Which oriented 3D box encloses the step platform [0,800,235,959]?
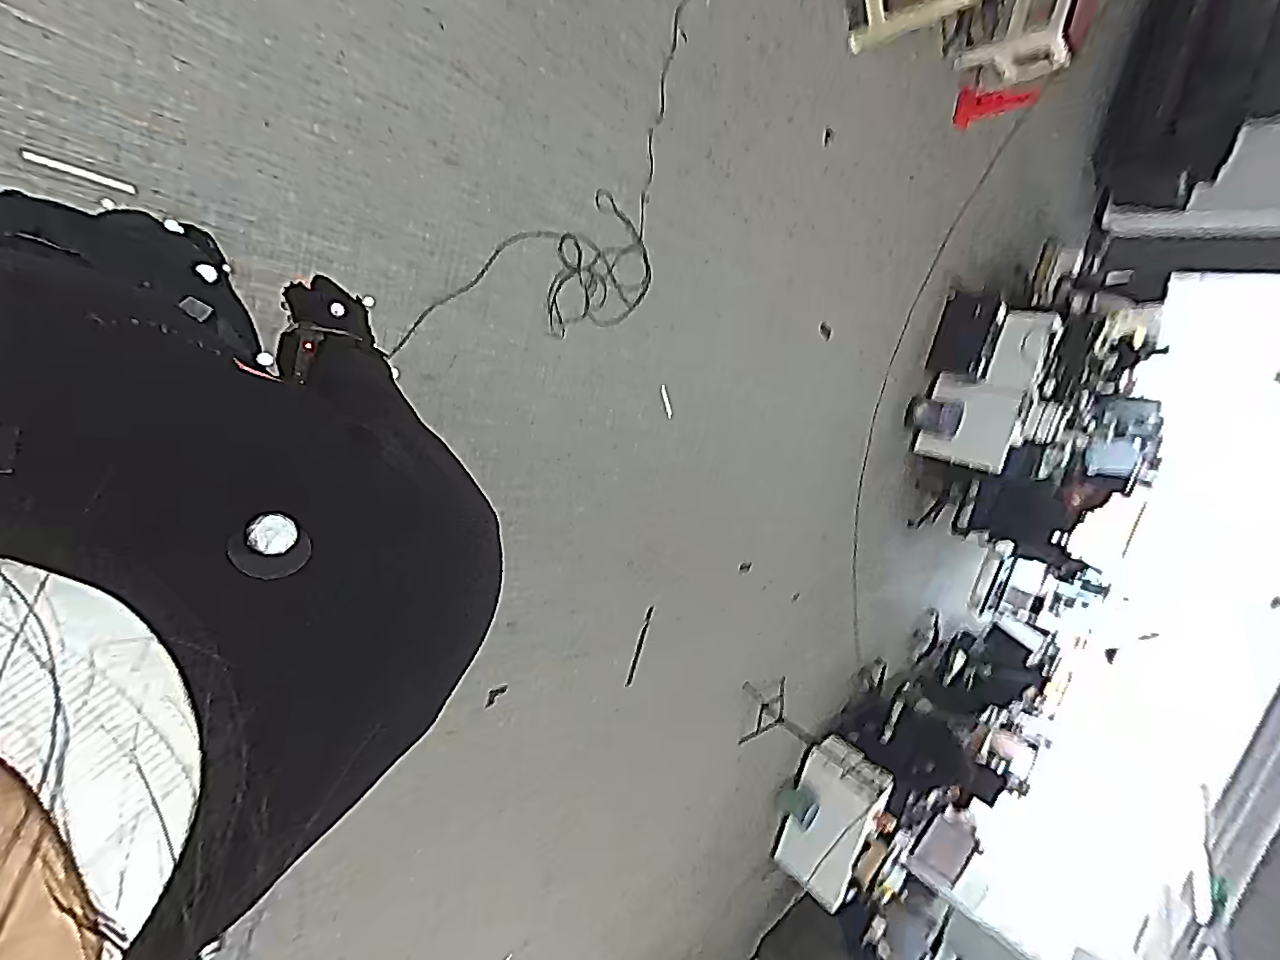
[{"bbox_3d":[-1.301,0.988,1.168,0.684,0.204,0.286,3,105,-44],"label":"step platform"}]
